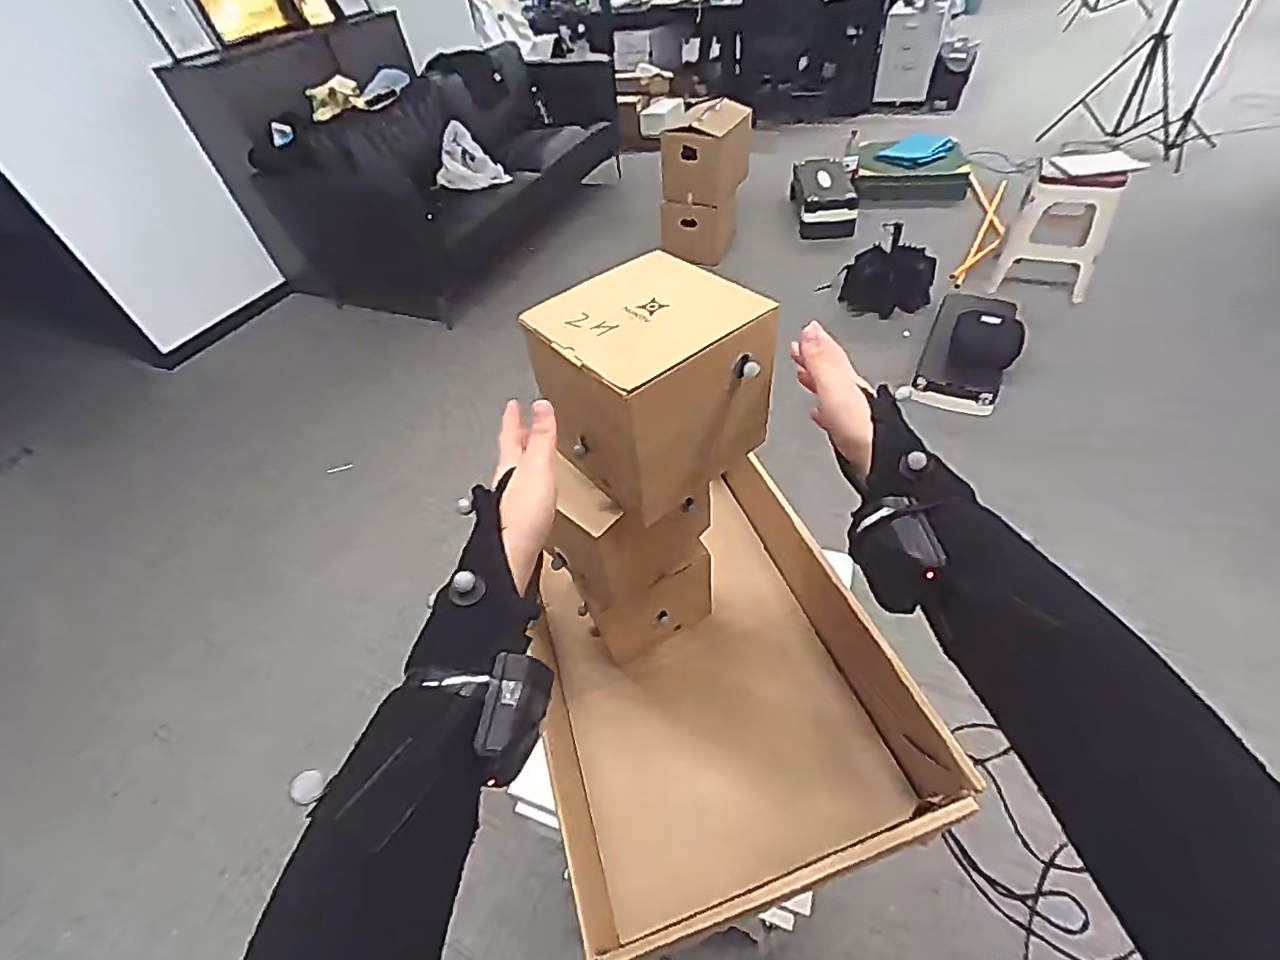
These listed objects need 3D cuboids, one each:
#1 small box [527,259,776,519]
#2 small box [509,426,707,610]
[{"bbox_3d":[0.014,-0.095,0.557,0.179,0.176,0.168,-34,51,-22],"label":"small box"},{"bbox_3d":[-0.029,0.024,0.678,0.168,0.176,0.179,32,61,32],"label":"small box"}]
